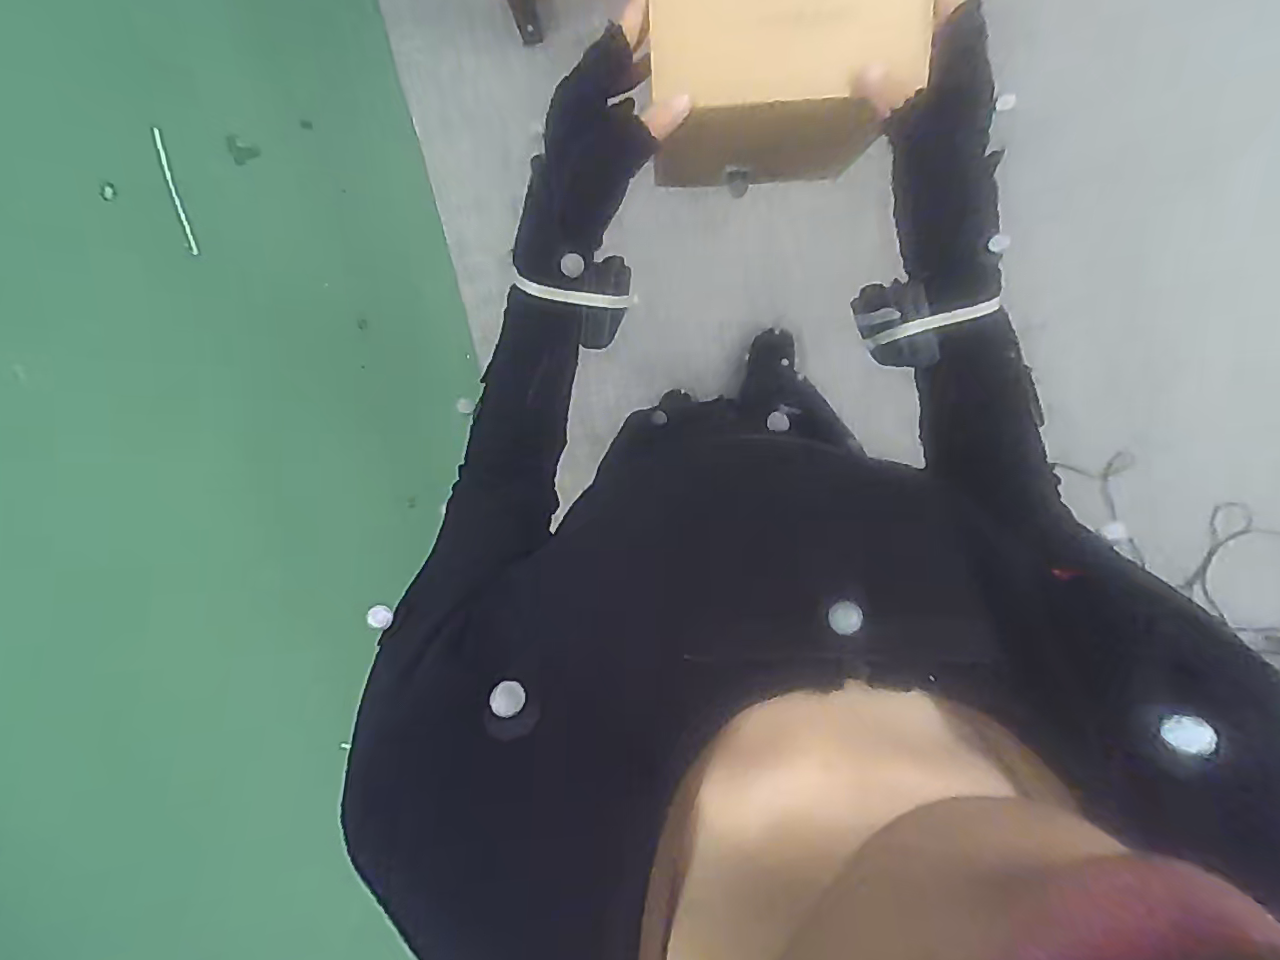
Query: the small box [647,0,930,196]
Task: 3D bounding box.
[{"bbox_3d":[0.089,-0.327,0.389,0.168,0.176,0.179,-2,103,3],"label":"small box"}]
